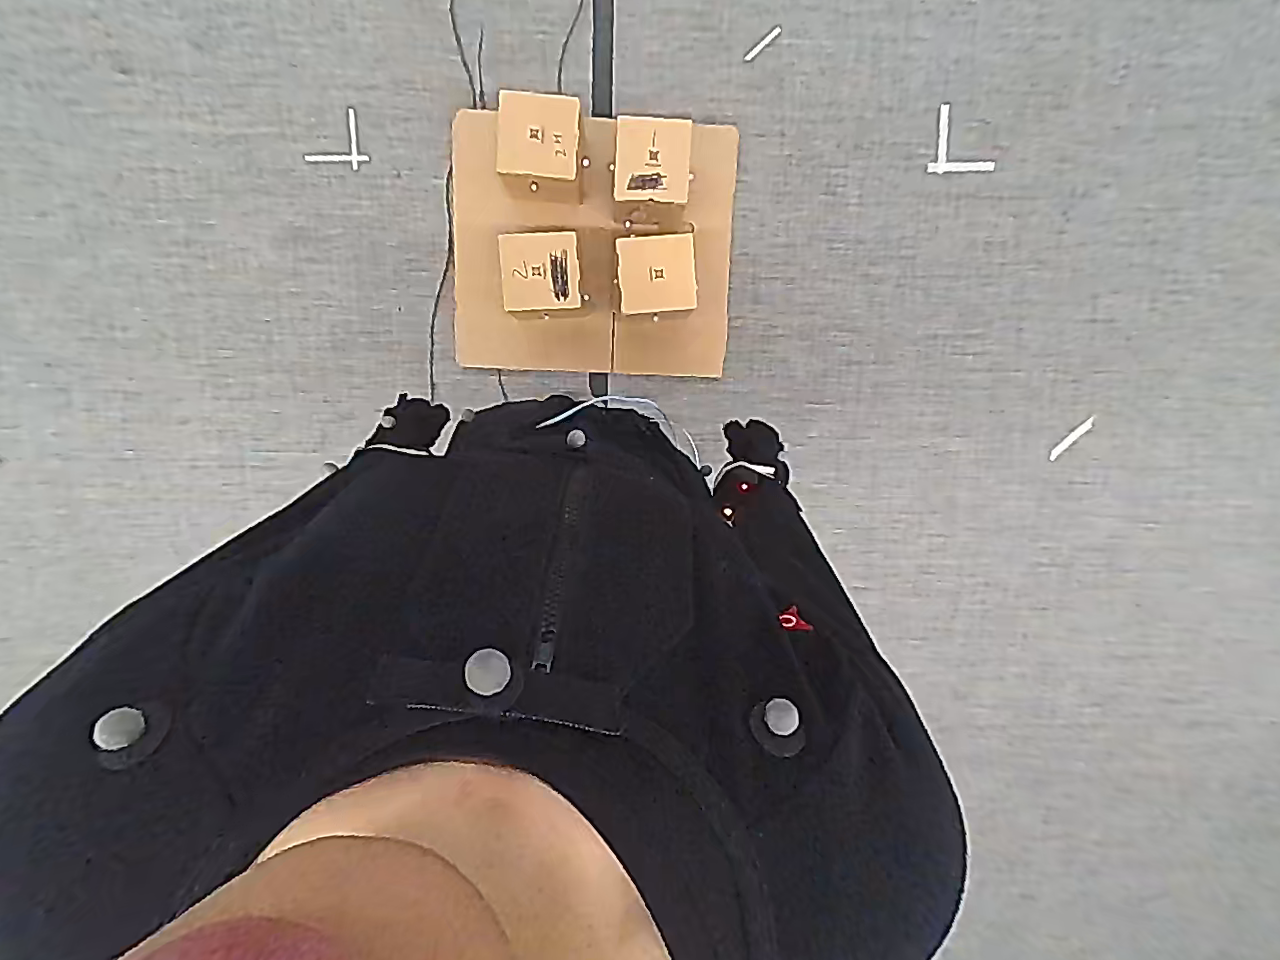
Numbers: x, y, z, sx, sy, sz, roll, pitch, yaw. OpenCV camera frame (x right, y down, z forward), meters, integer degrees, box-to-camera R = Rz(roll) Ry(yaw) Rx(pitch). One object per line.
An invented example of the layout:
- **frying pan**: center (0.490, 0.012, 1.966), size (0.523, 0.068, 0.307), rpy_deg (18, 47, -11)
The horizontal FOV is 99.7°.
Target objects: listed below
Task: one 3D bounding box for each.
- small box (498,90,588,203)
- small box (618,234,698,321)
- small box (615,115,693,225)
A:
- **small box**: center (-0.218, -0.760, 1.249), size (0.179, 0.176, 0.168), rpy_deg (5, 99, -3)
- **small box**: center (0.040, -0.484, 1.309), size (0.179, 0.176, 0.168), rpy_deg (-4, 100, 0)
- **small box**: center (0.030, -0.717, 1.269), size (0.168, 0.176, 0.179), rpy_deg (3, 98, -2)
